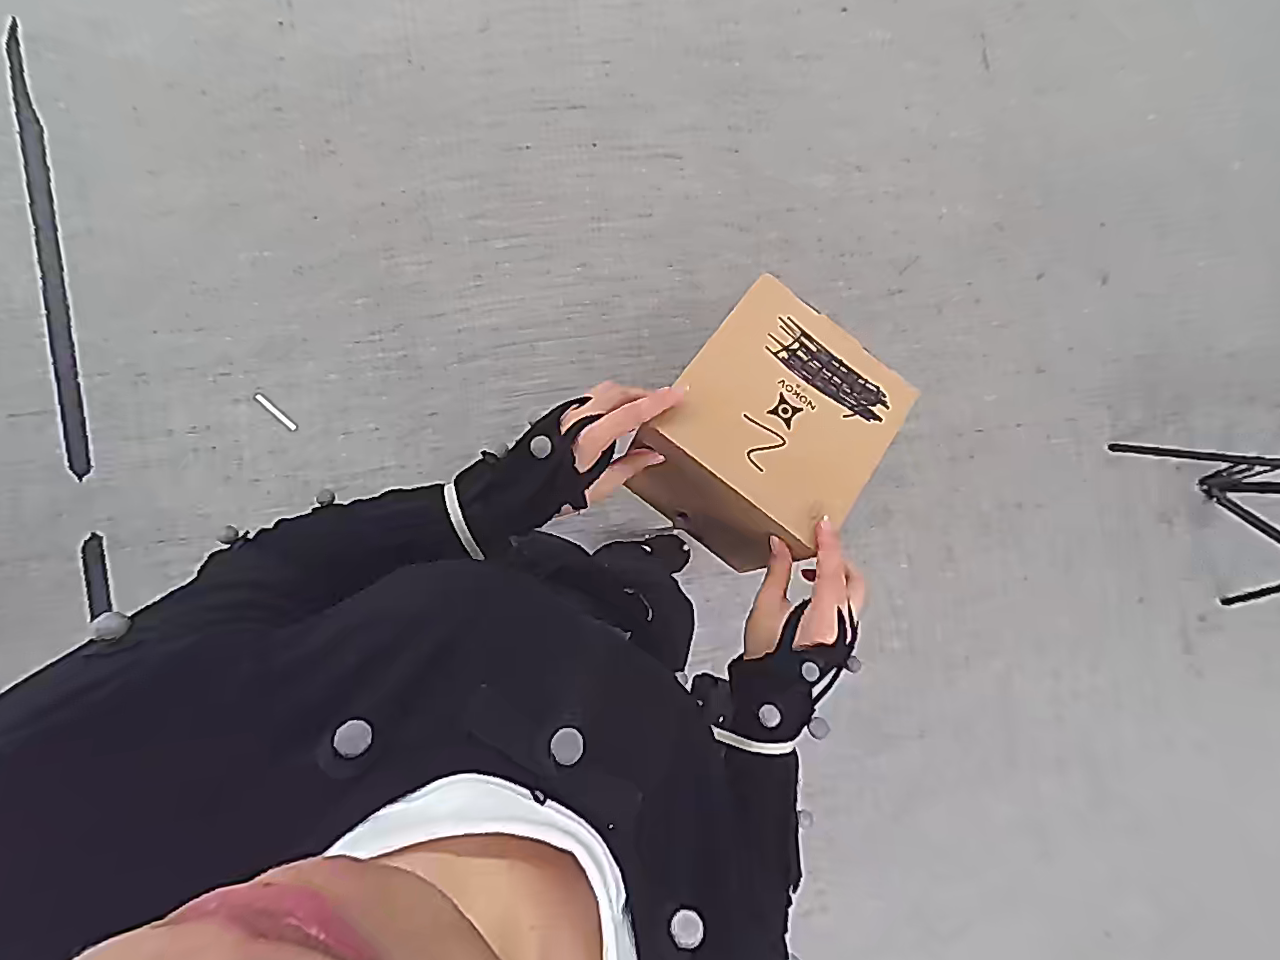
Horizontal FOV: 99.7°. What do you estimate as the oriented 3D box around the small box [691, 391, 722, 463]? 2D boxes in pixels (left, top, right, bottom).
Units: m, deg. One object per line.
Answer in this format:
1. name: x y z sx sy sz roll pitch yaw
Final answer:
1. small box: 0.227 -0.131 1.340 0.179 0.176 0.168 -5 91 -7
